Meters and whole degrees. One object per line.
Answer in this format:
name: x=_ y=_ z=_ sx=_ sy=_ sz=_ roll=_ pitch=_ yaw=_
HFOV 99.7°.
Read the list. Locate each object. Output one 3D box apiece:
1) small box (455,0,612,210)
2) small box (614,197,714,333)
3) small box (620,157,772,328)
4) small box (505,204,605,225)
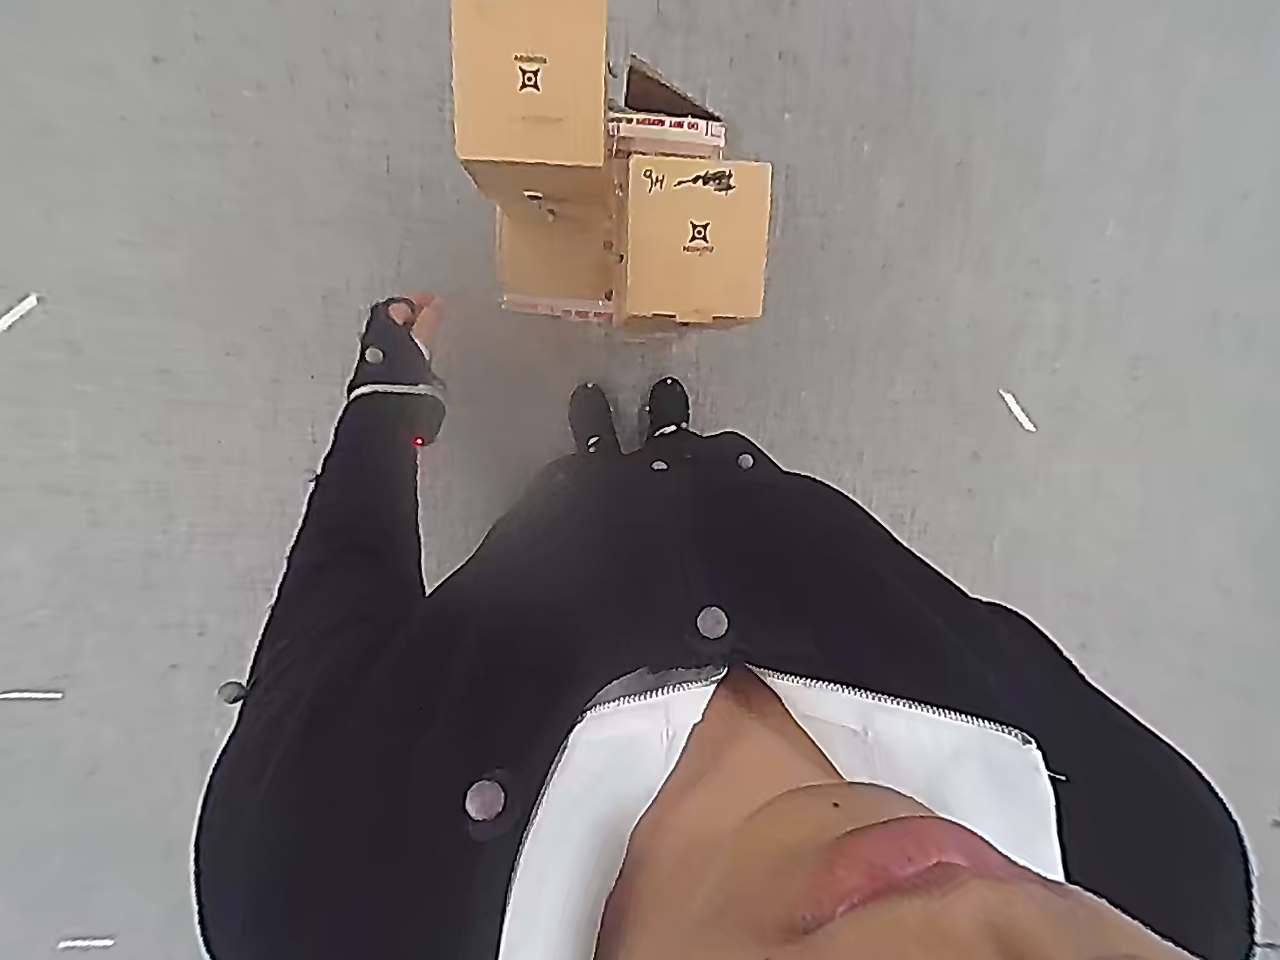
small box: x=-0.120 y=-0.452 z=0.663 sx=0.168 sy=0.176 sz=0.179 roll=1 pitch=103 yaw=-2
small box: x=0.042 y=-0.333 z=0.866 sx=0.168 sy=0.176 sz=0.179 roll=-1 pitch=103 yaw=-4
small box: x=0.061 y=-0.294 z=0.707 sx=0.168 sy=0.176 sz=0.179 roll=1 pitch=103 yaw=-5
small box: x=-0.134 y=-0.506 z=0.818 sx=0.168 sy=0.176 sz=0.179 roll=2 pitch=102 yaw=-3
